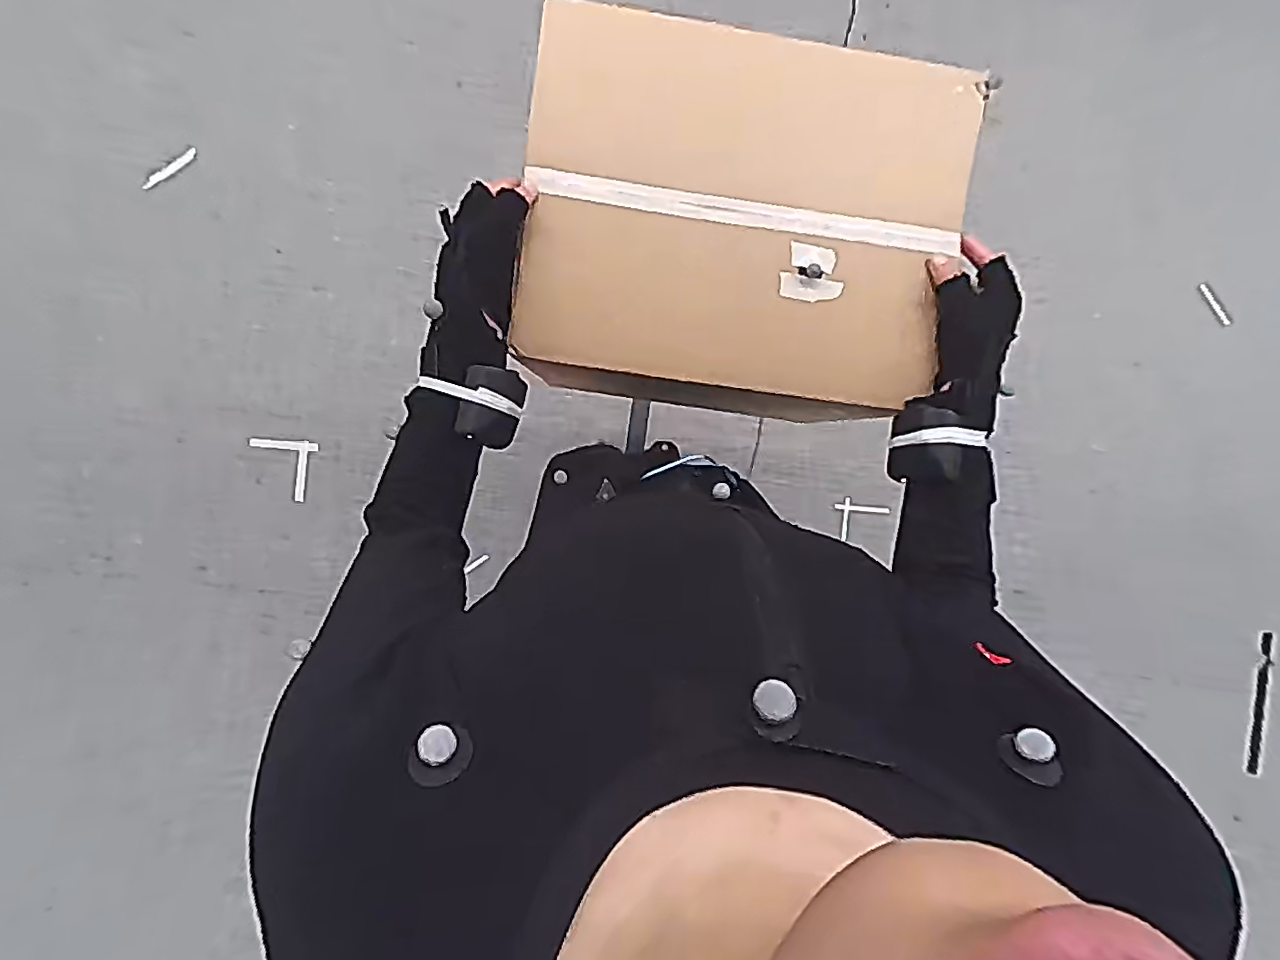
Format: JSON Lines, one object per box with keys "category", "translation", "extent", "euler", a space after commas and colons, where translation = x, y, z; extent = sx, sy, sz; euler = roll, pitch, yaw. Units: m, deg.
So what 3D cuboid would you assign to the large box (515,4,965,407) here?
{"category": "large box", "translation": [0.085, -0.270, 0.656], "extent": [0.408, 0.320, 0.320], "euler": [7, 96, -4]}
